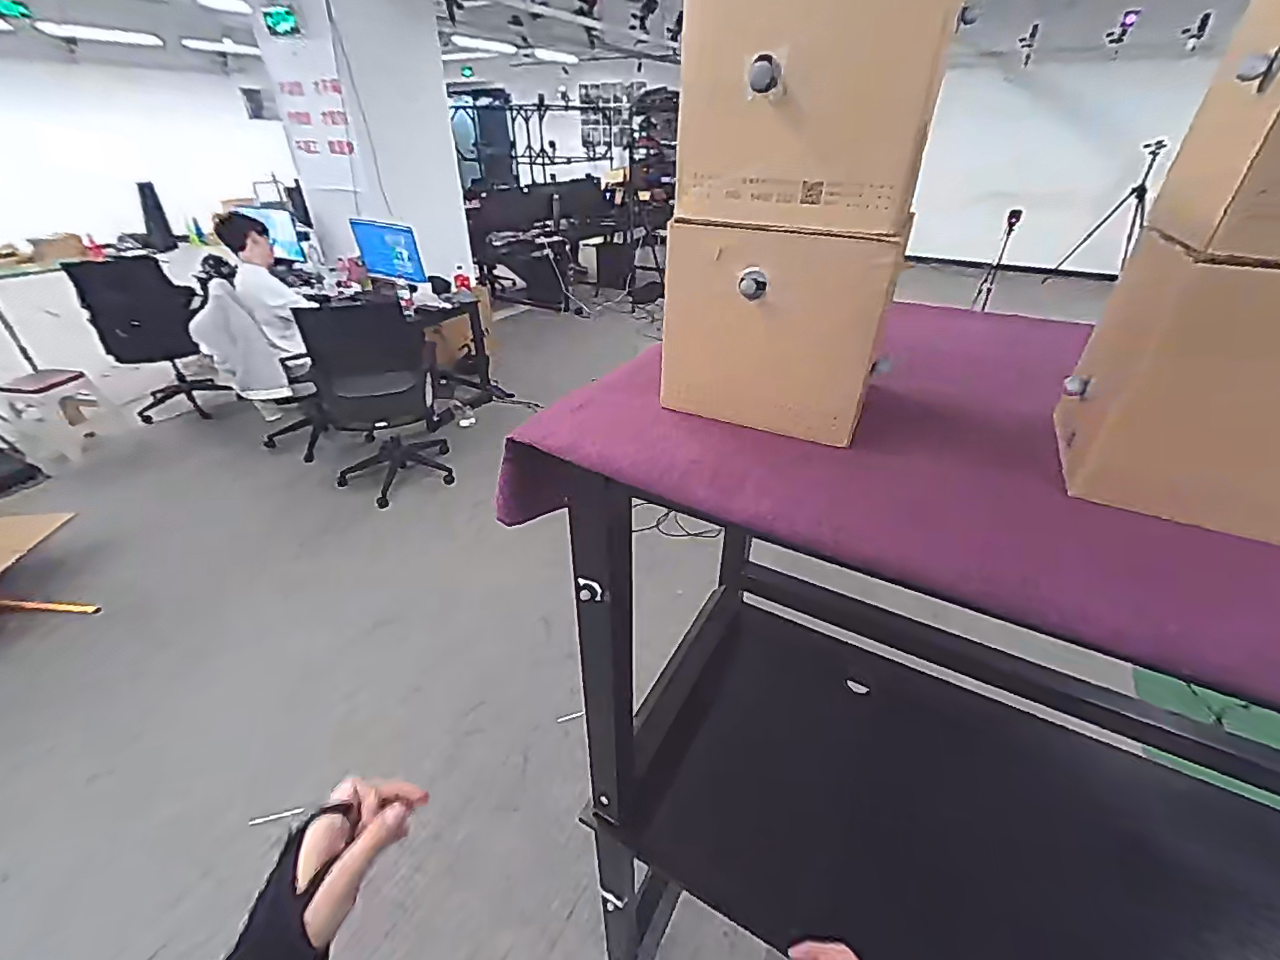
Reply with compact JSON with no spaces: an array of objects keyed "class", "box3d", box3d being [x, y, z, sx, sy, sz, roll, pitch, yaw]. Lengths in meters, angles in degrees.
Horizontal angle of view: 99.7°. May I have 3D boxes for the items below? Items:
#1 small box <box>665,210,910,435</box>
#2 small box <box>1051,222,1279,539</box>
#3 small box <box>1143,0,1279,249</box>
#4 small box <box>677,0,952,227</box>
[{"class":"small box","box3d":[0.132,-0.158,0.506,0.179,0.176,0.168,16,36,22]},{"class":"small box","box3d":[0.425,-0.073,0.377,0.179,0.176,0.168,18,35,25]},{"class":"small box","box3d":[0.429,-0.215,0.296,0.168,0.176,0.179,18,36,24]},{"class":"small box","box3d":[0.135,-0.297,0.423,0.168,0.176,0.179,15,35,21]}]
